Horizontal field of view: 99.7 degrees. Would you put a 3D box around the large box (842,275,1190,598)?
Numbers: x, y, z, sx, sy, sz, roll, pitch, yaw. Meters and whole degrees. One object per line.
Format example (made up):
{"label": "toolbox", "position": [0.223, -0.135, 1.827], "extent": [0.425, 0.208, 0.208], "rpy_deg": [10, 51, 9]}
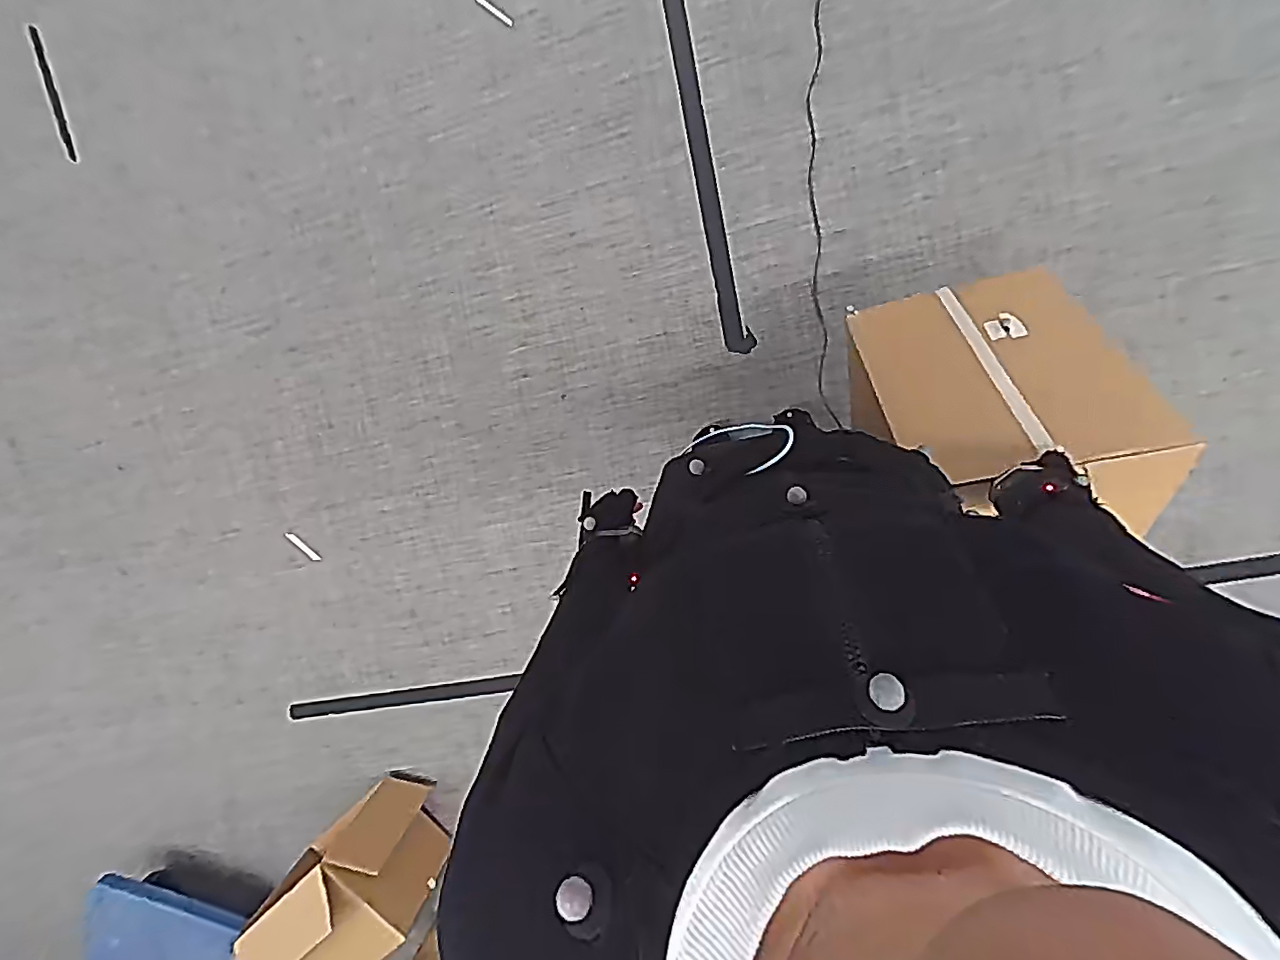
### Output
{"label": "large box", "position": [0.554, -0.068, 0.907], "extent": [0.320, 0.408, 0.320], "rpy_deg": [-11, 137, 13]}
